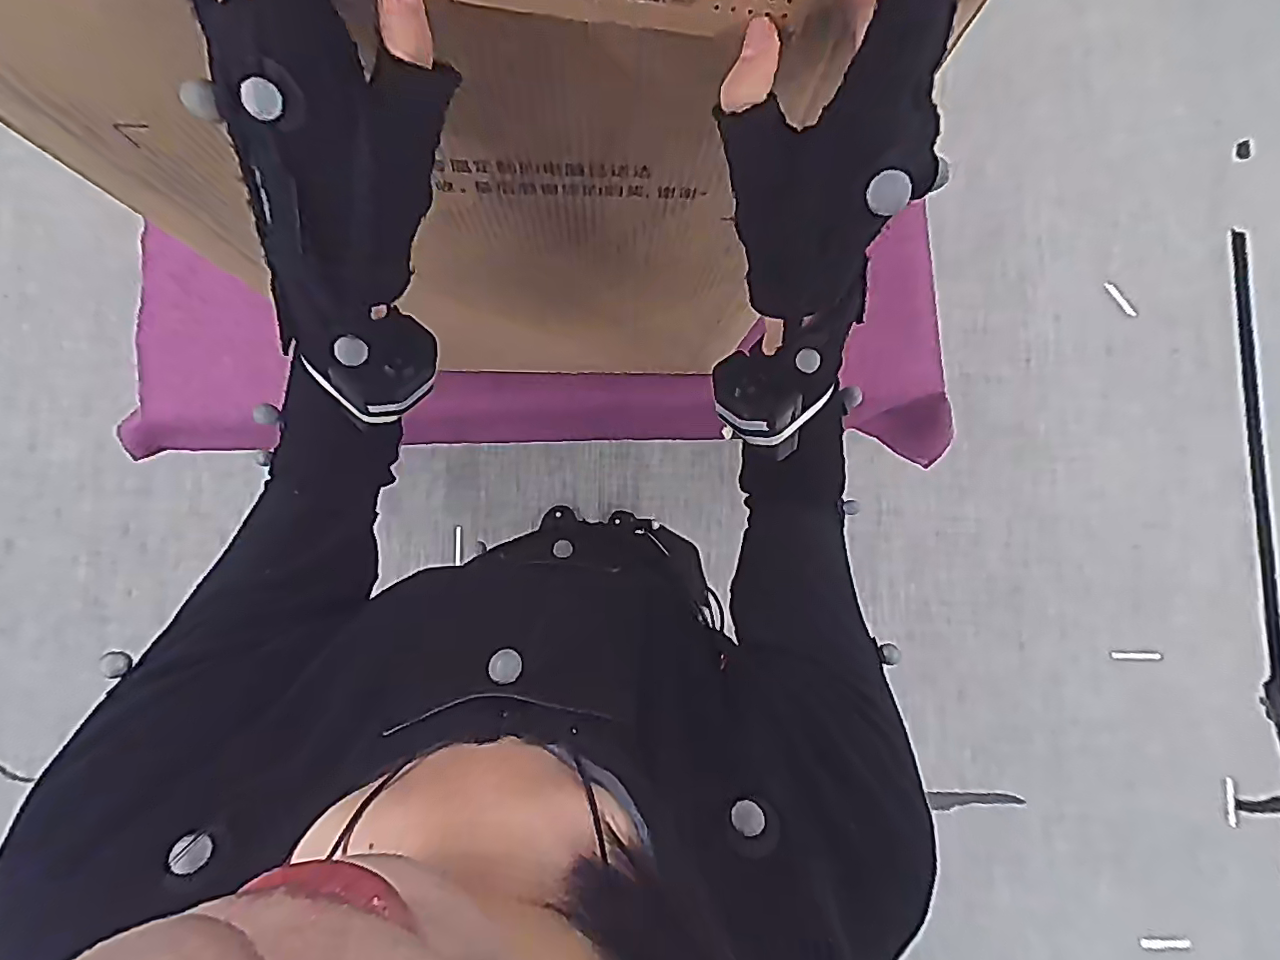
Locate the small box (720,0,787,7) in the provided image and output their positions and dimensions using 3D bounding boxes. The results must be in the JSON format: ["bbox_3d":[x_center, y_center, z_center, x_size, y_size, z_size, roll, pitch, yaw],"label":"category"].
[{"bbox_3d":[-0.003,-0.271,0.128,0.168,0.176,0.179,5,87,-3],"label":"small box"}]
